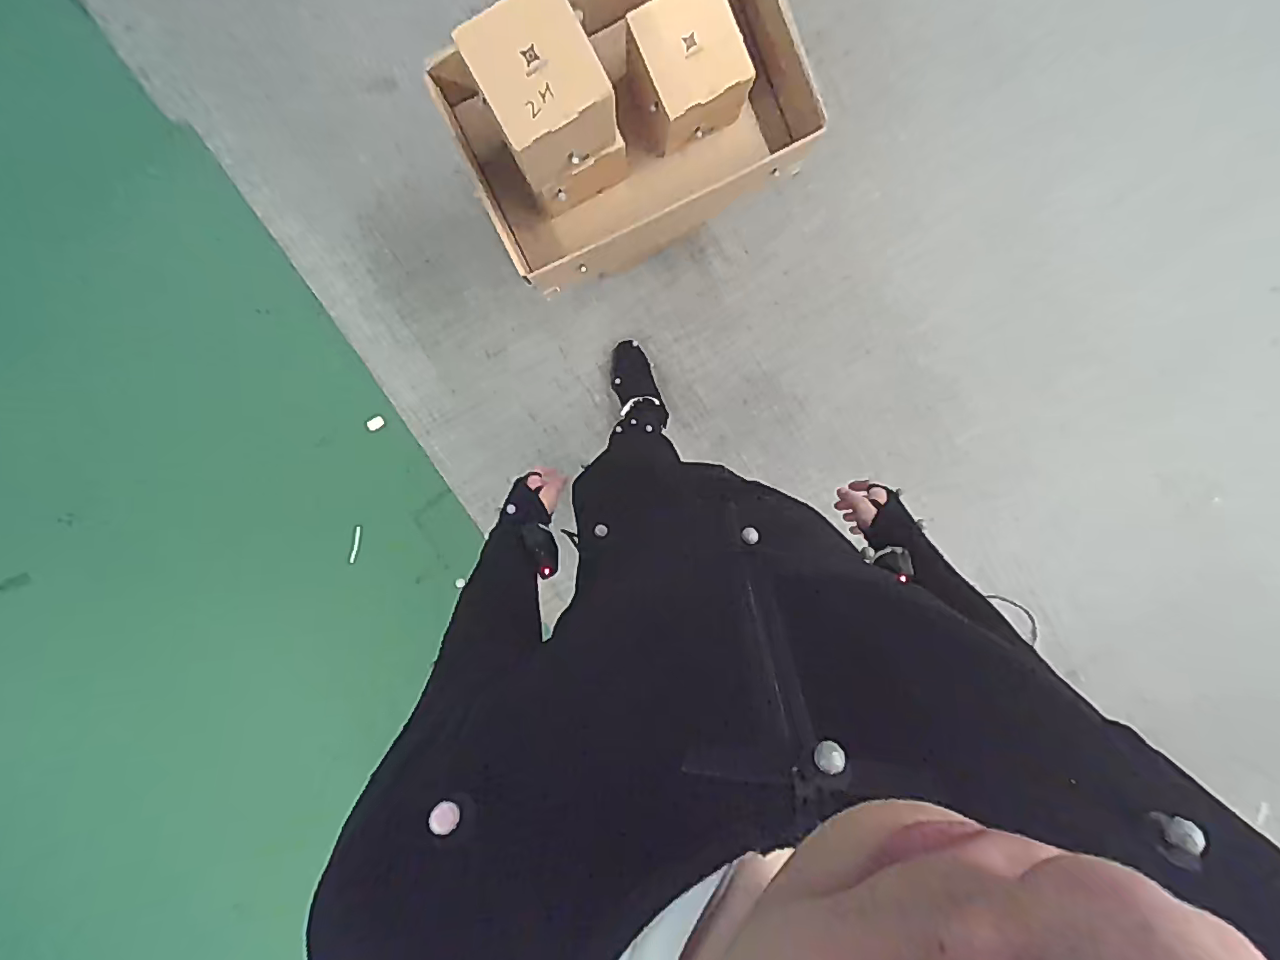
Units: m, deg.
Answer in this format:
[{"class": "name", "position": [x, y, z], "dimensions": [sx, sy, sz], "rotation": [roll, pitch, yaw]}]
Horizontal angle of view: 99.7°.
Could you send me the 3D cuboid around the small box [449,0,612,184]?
[{"class": "small box", "position": [-0.154, -0.594, 0.821], "dimensions": [0.168, 0.176, 0.179], "rotation": [-29, 101, 4]}]
